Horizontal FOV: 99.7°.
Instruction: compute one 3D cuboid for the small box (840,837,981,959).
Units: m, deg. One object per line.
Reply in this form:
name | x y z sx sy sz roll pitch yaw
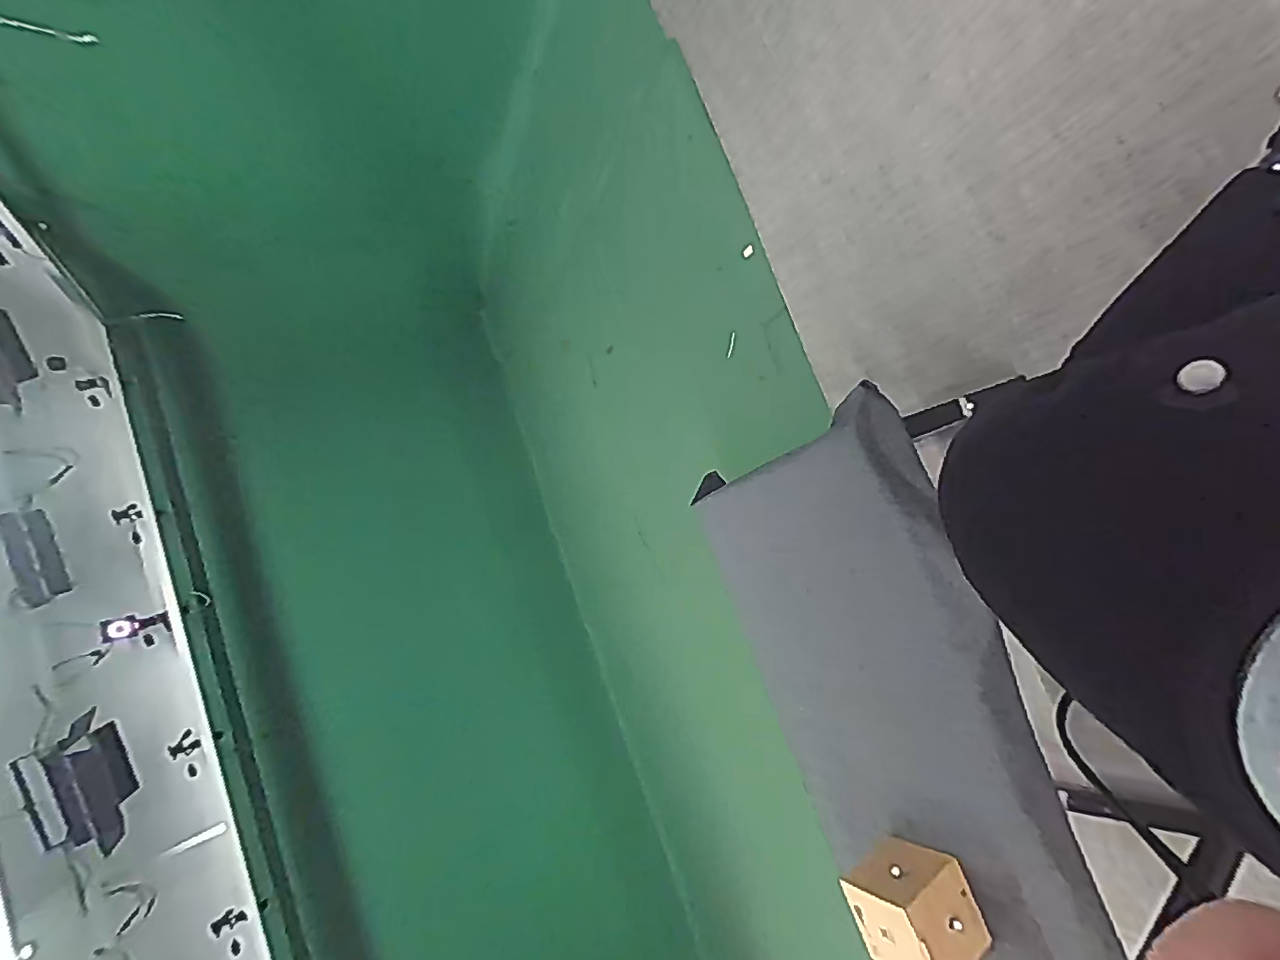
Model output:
small box | 0.556 0.870 1.104 0.179 0.176 0.168 -37 73 58
